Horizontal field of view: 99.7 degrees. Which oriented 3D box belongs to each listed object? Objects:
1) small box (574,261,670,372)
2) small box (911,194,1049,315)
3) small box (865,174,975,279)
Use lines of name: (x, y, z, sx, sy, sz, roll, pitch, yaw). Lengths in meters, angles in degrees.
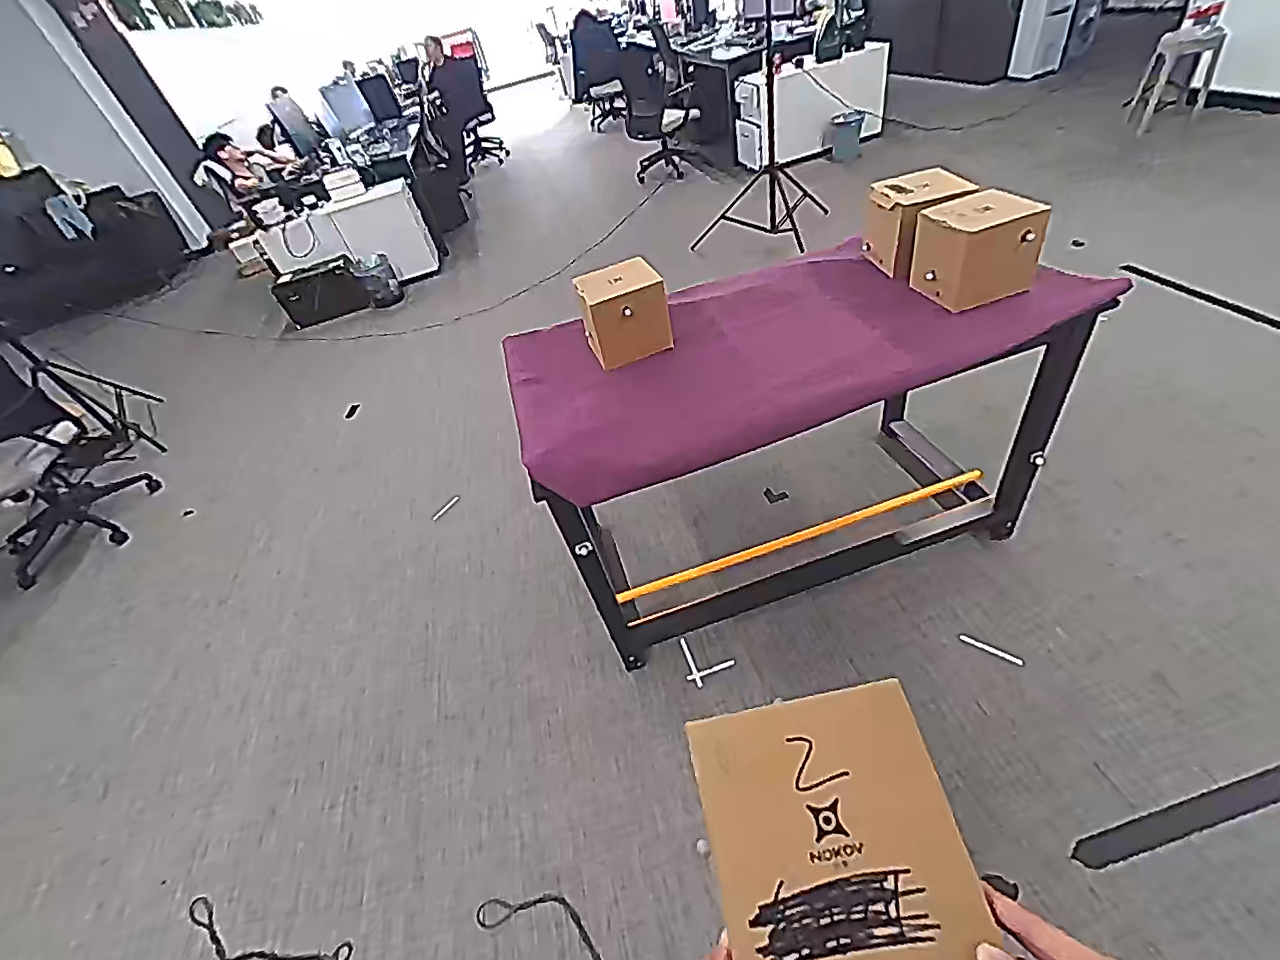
small box: (-0.037, -0.383, 1.272, 0.179, 0.176, 0.168, -21, 43, -6)
small box: (0.708, -0.478, 1.150, 0.179, 0.176, 0.168, -18, 41, -1)
small box: (0.656, -0.604, 1.297, 0.179, 0.176, 0.168, -14, 44, 1)
